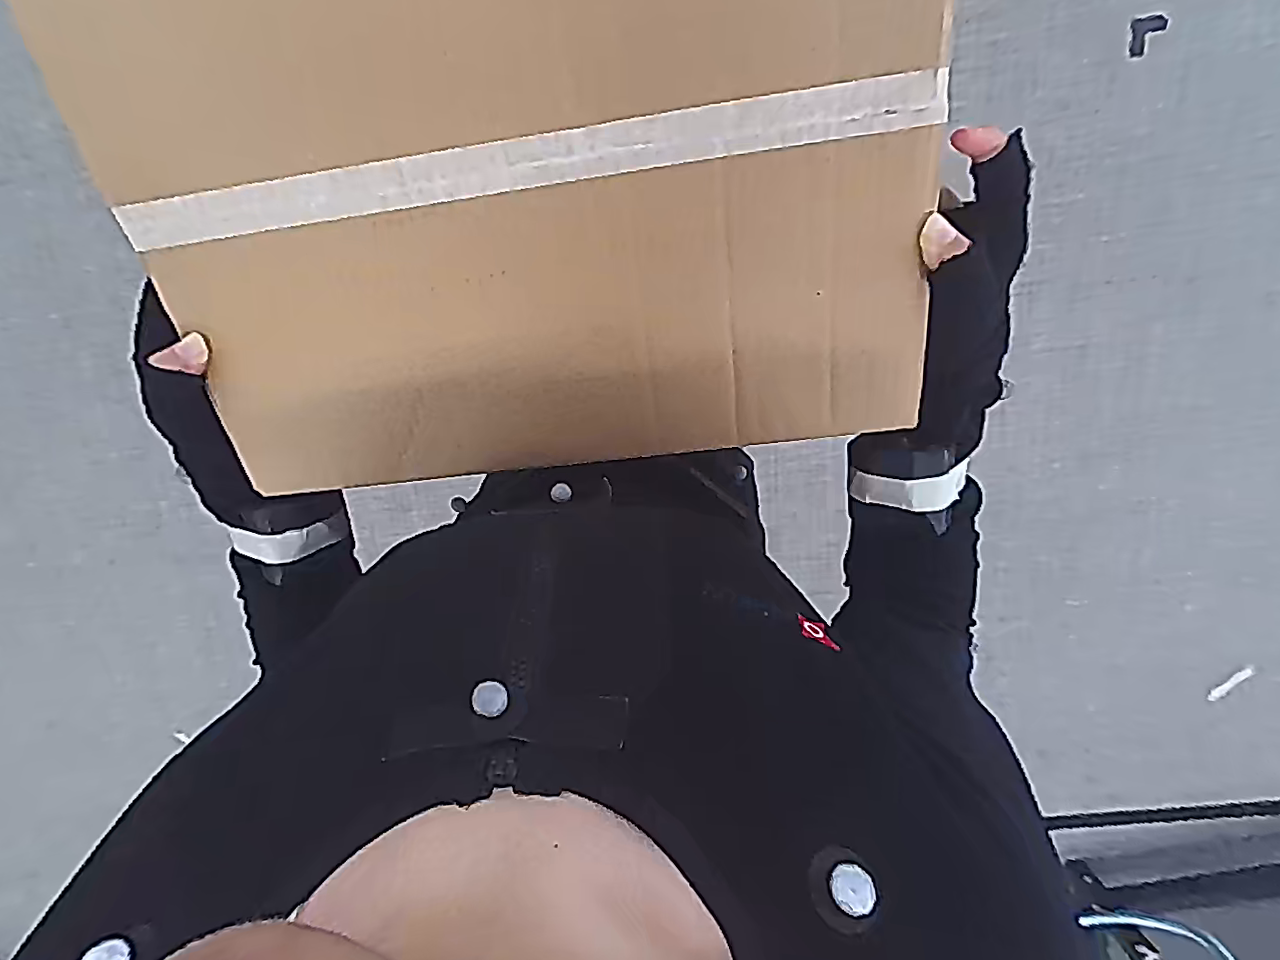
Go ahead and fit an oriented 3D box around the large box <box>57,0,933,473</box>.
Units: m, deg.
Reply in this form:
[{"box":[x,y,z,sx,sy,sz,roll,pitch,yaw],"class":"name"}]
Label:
[{"box":[-0.059,-0.225,0.405,0.408,0.320,0.320,-6,116,5],"class":"large box"}]
